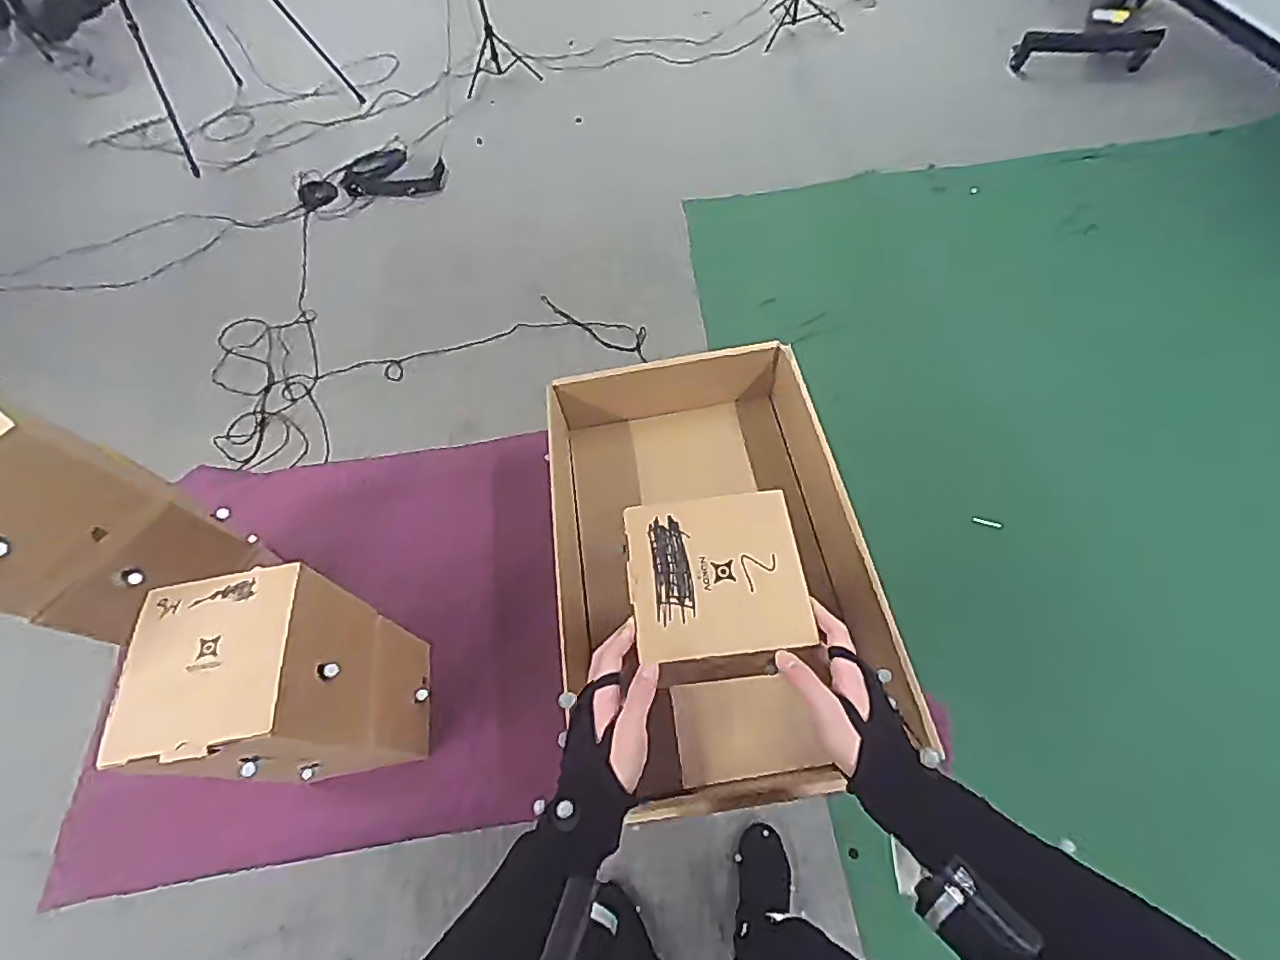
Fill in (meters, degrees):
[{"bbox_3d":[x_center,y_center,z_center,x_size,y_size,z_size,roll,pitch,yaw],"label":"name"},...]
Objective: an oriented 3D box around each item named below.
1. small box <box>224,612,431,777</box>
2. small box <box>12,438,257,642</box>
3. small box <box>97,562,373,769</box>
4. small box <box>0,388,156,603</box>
[{"bbox_3d":[-0.408,0.299,0.740,0.179,0.176,0.168,-11,60,-2],"label":"small box"},{"bbox_3d":[-0.655,0.086,0.693,0.168,0.176,0.179,30,67,18],"label":"small box"},{"bbox_3d":[-0.421,0.213,0.602,0.168,0.176,0.179,-10,60,-2],"label":"small box"},{"bbox_3d":[-0.670,0.007,0.553,0.179,0.176,0.168,28,67,17],"label":"small box"}]
